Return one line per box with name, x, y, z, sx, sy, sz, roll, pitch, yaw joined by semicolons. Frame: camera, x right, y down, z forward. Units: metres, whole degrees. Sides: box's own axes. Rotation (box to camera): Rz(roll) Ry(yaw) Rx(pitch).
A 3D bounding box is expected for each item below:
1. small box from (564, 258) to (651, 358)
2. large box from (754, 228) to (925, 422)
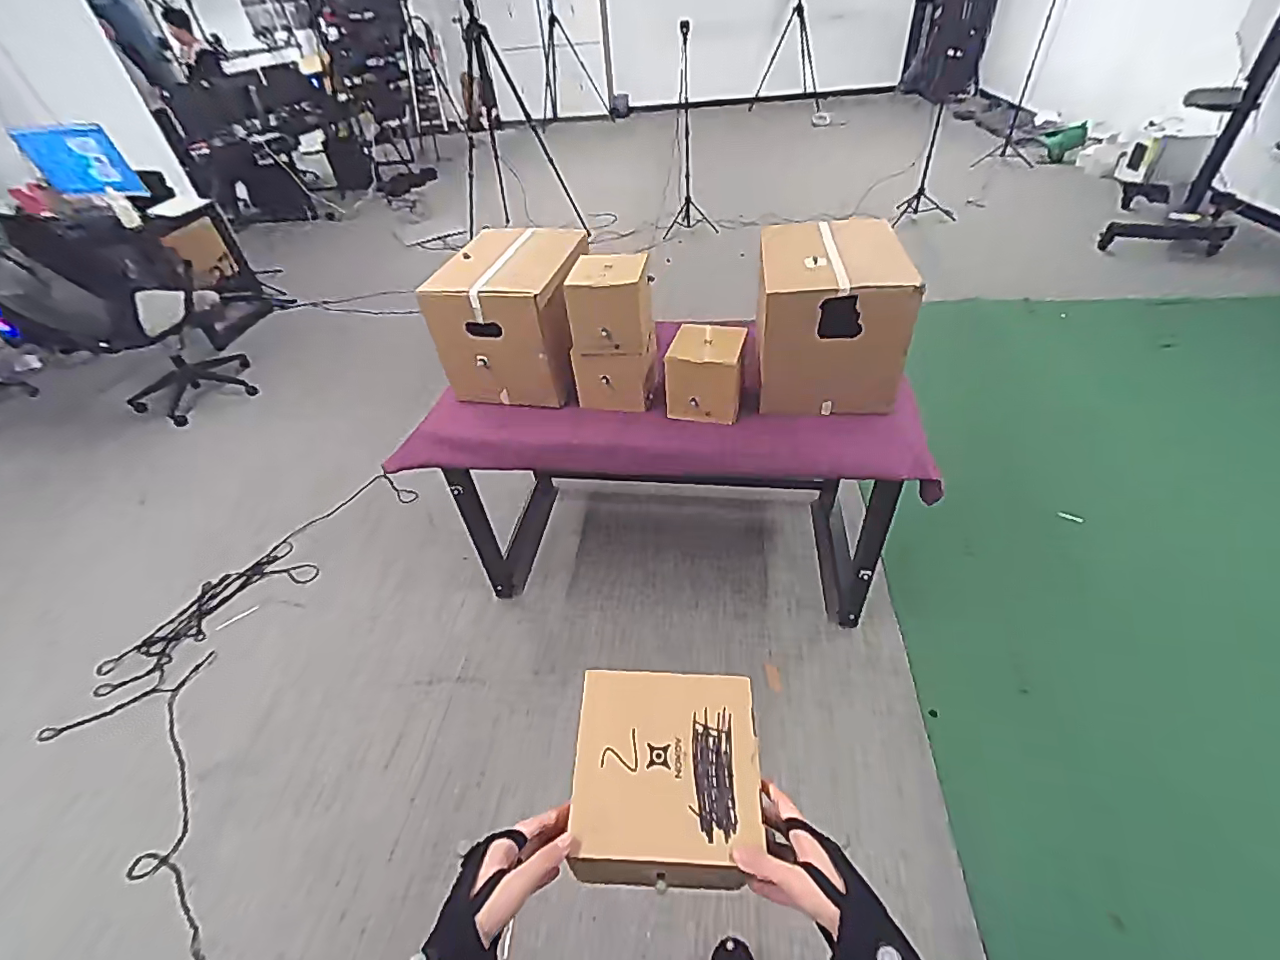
small box;-0.067;-0.404;1.267;0.168;0.176;0.179;2;43;10
large box;0.451;-0.387;1.332;0.320;0.320;0.408;0;43;10
